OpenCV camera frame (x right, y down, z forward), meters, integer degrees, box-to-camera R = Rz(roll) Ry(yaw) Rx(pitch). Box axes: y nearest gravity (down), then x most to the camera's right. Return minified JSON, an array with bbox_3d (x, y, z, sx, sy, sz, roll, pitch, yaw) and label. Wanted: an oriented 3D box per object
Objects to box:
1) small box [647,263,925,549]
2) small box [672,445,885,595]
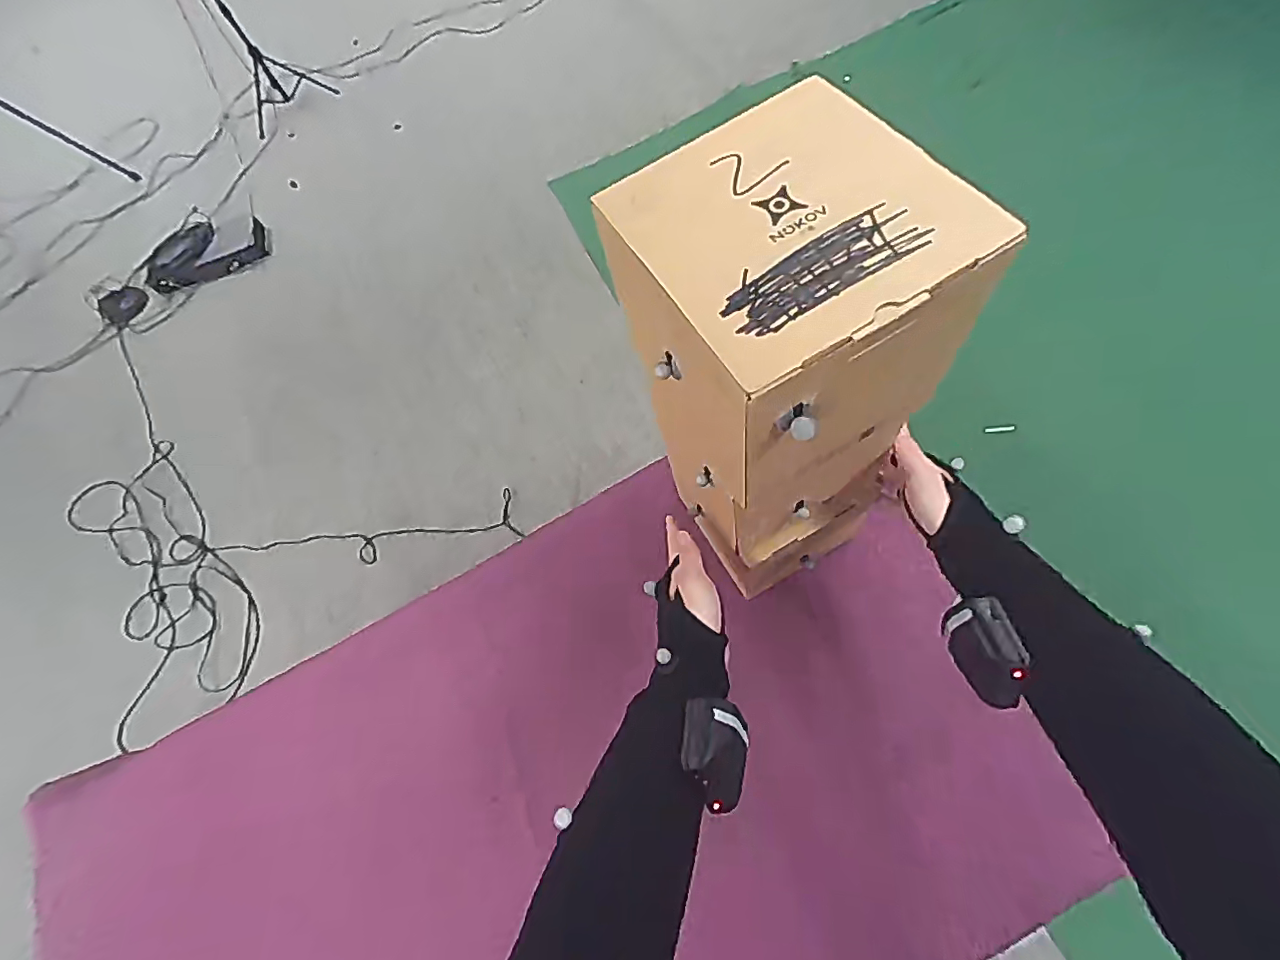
[{"bbox_3d":[0.123,-0.060,0.518,0.168,0.176,0.179,-28,66,-3],"label":"small box"},{"bbox_3d":[0.157,0.016,0.658,0.168,0.176,0.179,-30,65,-2],"label":"small box"}]
